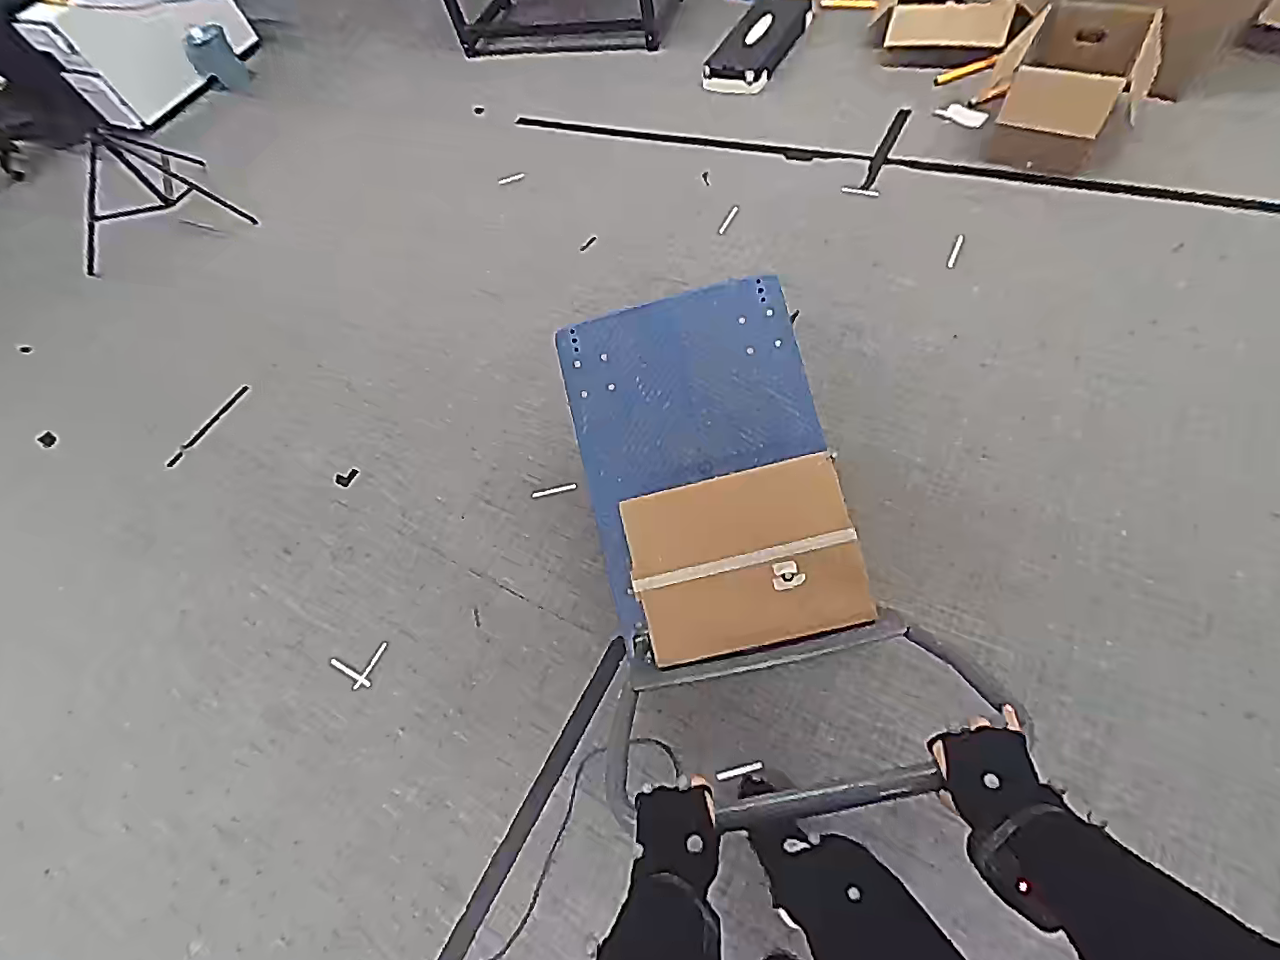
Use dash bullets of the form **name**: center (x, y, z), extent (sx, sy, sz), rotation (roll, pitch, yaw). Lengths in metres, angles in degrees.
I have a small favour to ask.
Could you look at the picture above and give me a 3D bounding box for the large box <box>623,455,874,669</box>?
- **large box**: center (0.205, 0.167, 1.147), extent (0.408, 0.320, 0.320), rotation (-15, 84, 3)
